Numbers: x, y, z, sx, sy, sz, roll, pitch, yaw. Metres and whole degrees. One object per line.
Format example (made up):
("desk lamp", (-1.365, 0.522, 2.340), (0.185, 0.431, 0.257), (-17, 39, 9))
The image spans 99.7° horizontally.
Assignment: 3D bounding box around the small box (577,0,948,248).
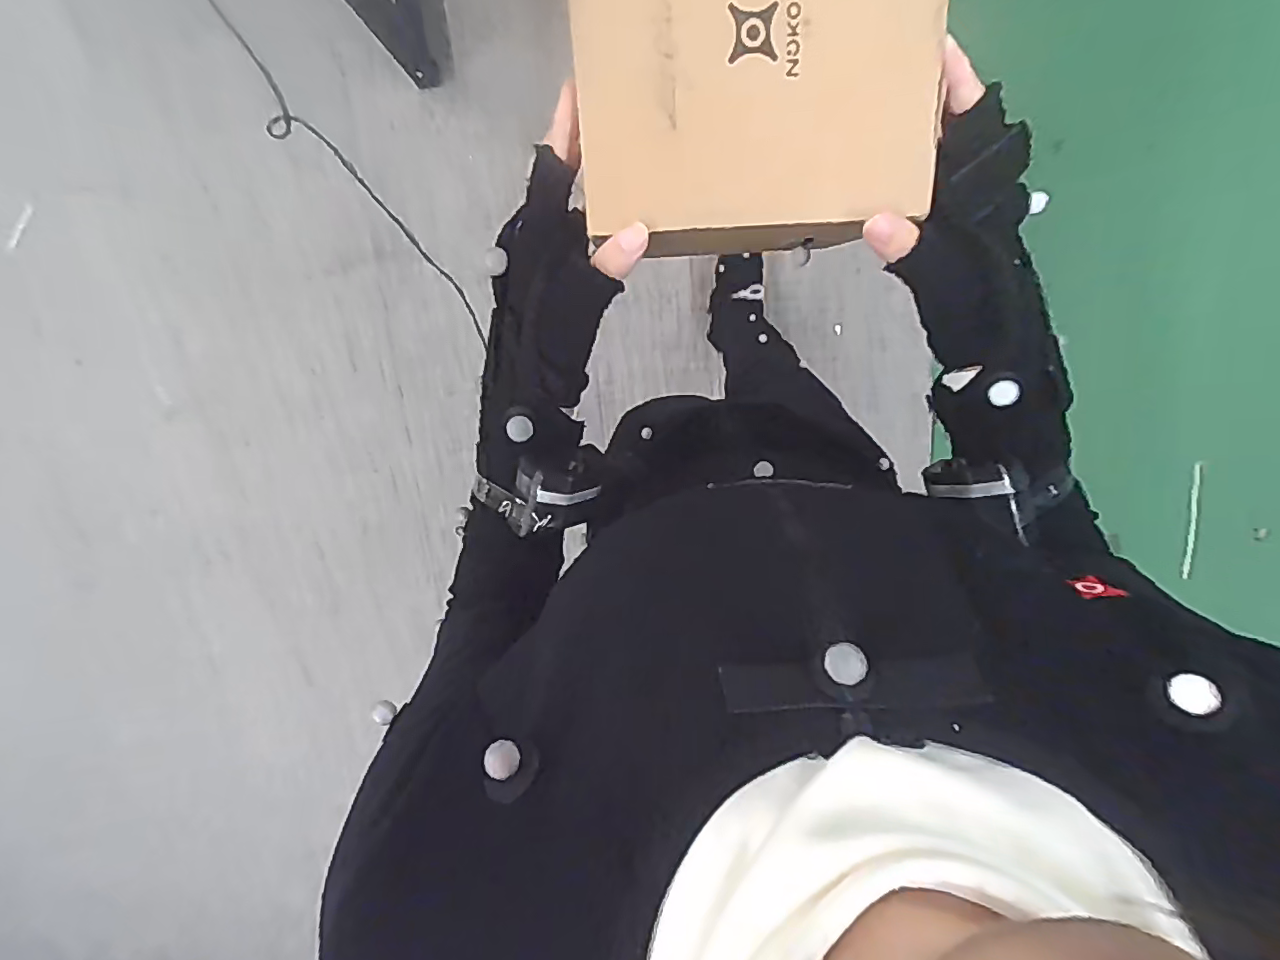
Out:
("small box", (0.057, -0.242, 0.328), (0.179, 0.176, 0.168), (-4, 107, 2))
